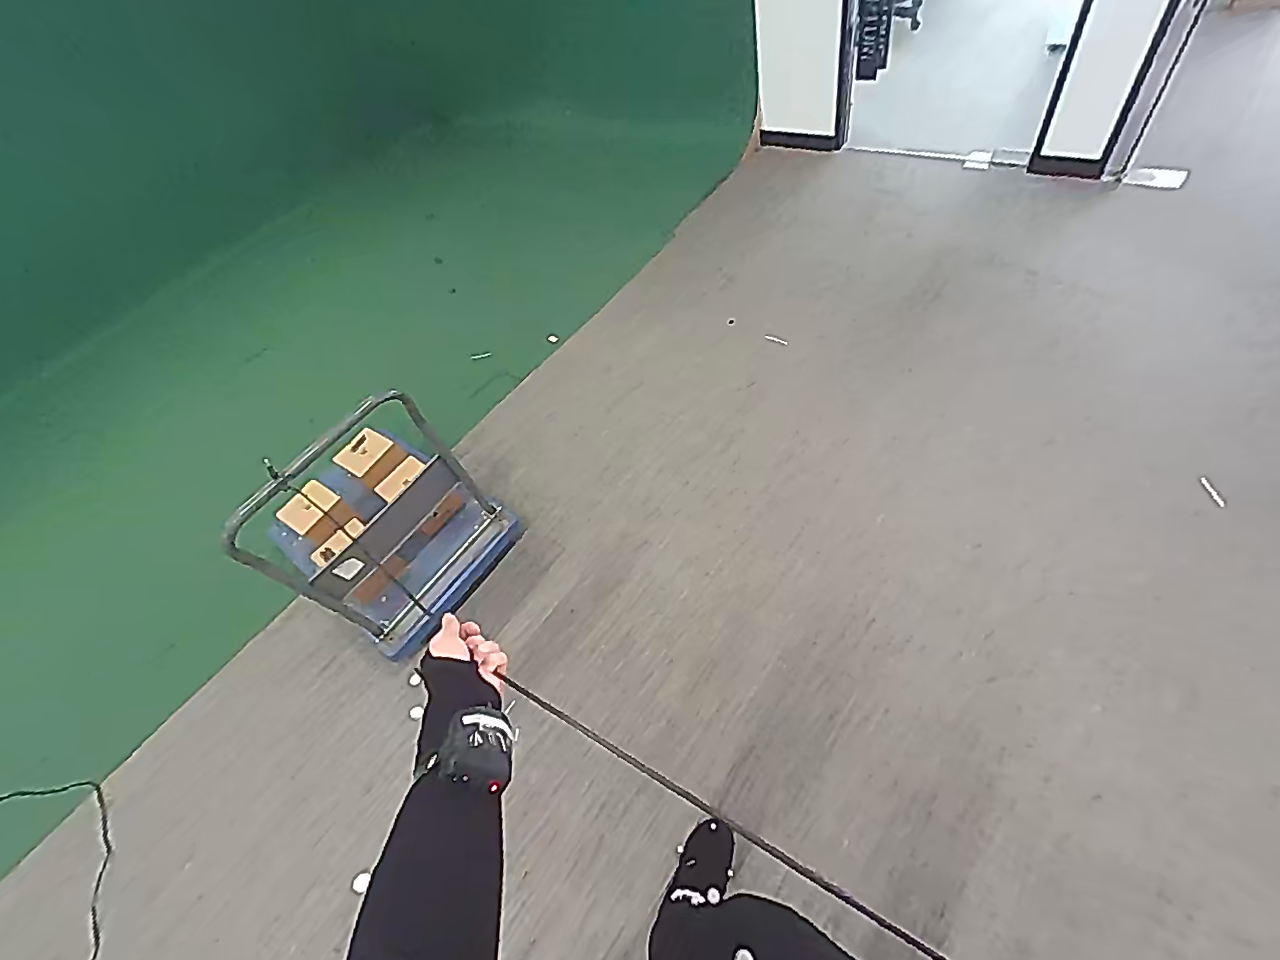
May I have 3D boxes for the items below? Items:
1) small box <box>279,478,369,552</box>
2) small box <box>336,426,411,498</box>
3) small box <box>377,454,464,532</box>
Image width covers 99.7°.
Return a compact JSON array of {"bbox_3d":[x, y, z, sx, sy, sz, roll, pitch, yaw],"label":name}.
[{"bbox_3d":[-1.081,0.128,1.863,0.179,0.176,0.168,24,64,28],"label":"small box"},{"bbox_3d":[-0.943,-0.061,1.957,0.179,0.176,0.168,25,66,27],"label":"small box"},{"bbox_3d":[-0.736,0.050,1.825,0.179,0.176,0.168,29,68,29],"label":"small box"}]
